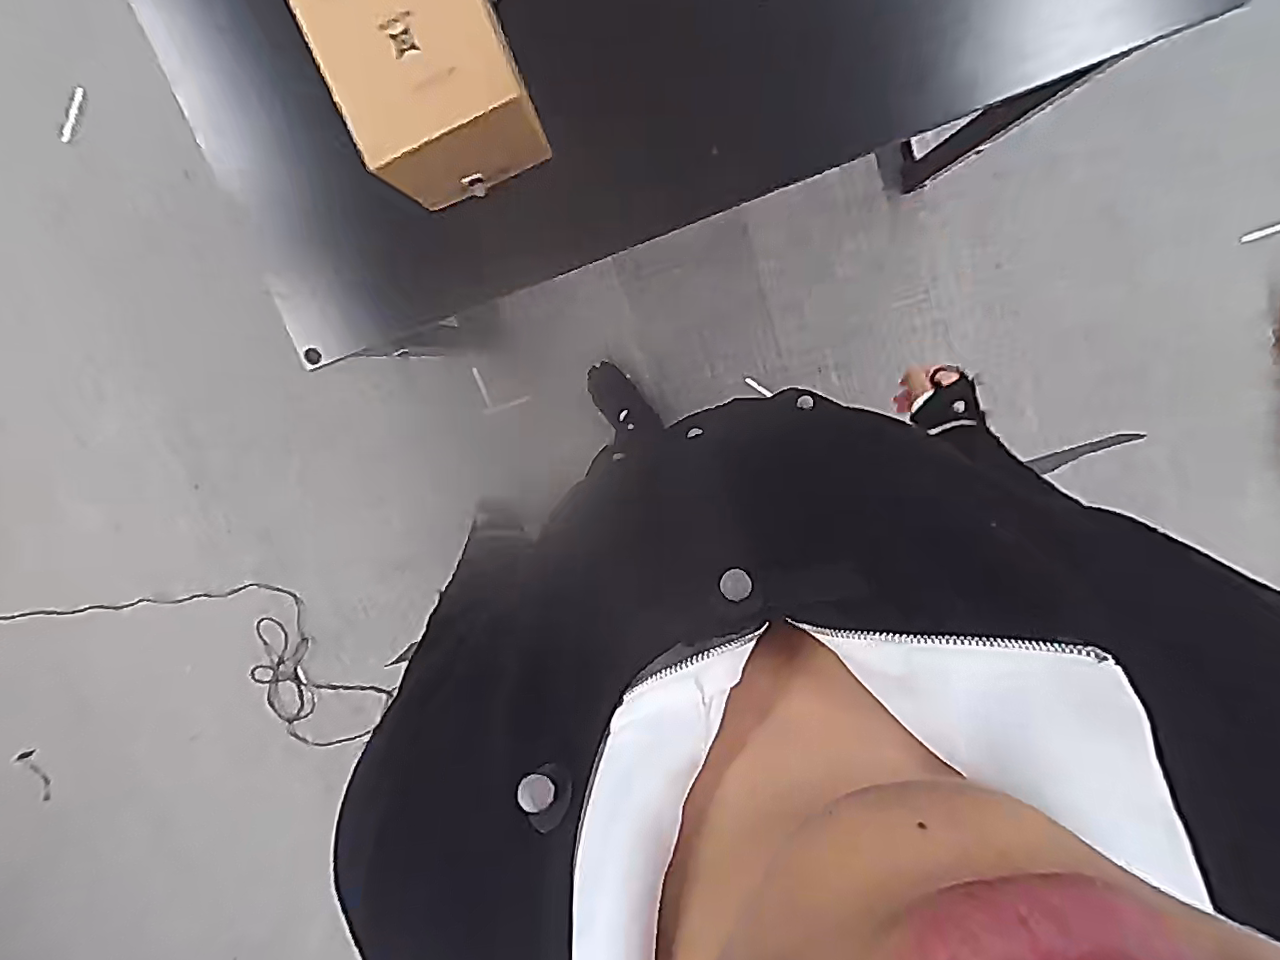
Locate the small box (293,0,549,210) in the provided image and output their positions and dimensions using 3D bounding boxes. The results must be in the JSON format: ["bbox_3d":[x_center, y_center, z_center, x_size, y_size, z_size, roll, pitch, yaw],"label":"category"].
[{"bbox_3d":[-0.219,-0.429,0.588,0.168,0.176,0.179,-22,102,7],"label":"small box"}]

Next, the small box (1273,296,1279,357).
[{"bbox_3d":[1.690,-0.380,1.290,0.168,0.176,0.179,-17,101,5],"label":"small box"}]
